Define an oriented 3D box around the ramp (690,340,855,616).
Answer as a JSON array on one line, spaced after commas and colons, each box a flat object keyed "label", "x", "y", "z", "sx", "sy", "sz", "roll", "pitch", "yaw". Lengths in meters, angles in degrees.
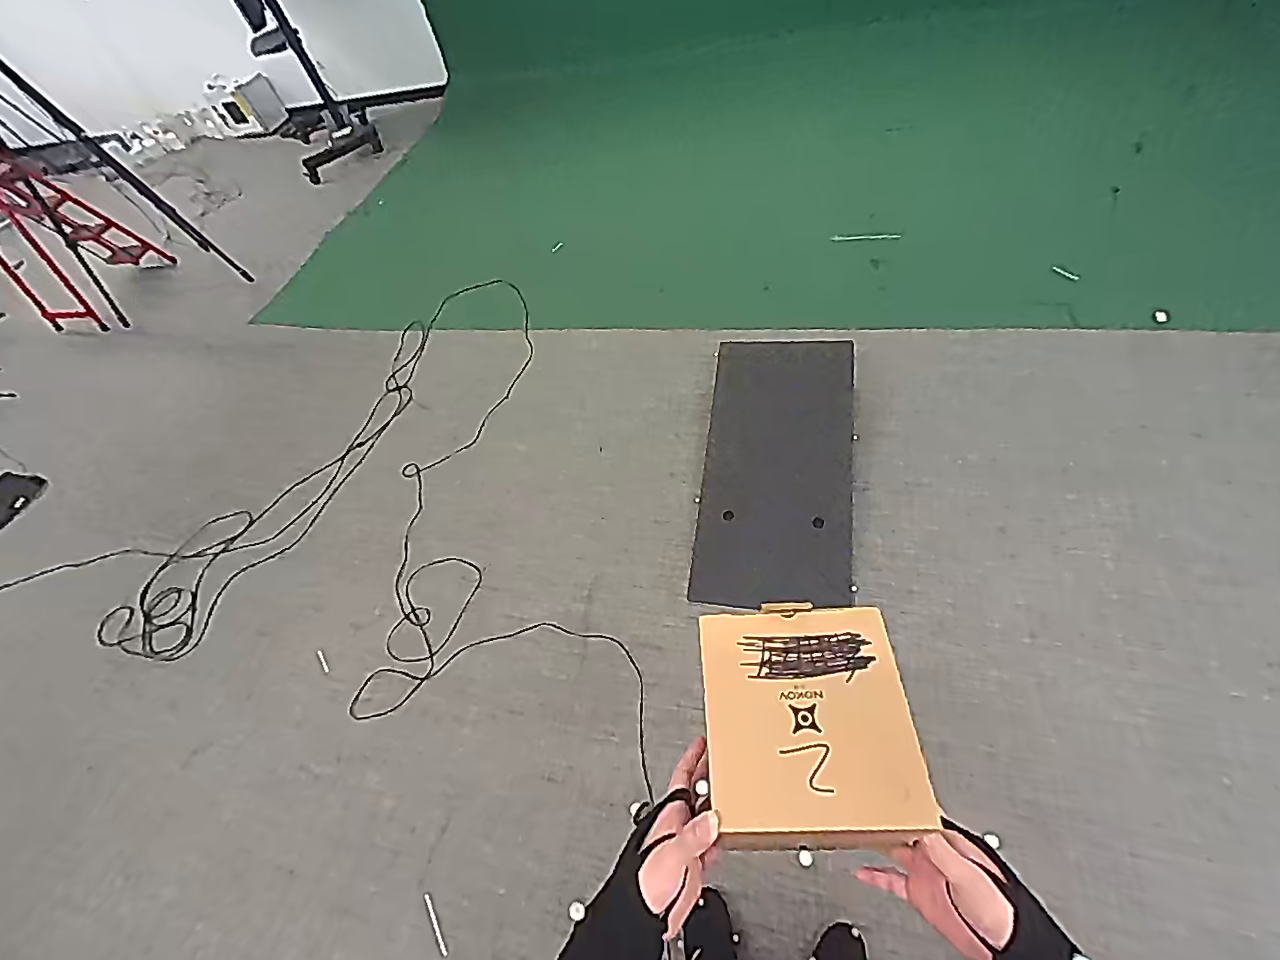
[{"label": "ramp", "x": 0.469, "y": -0.064, "z": 1.832, "sx": 0.509, "sy": 0.206, "sz": 0.991, "roll": 3, "pitch": 56, "yaw": 13}]
